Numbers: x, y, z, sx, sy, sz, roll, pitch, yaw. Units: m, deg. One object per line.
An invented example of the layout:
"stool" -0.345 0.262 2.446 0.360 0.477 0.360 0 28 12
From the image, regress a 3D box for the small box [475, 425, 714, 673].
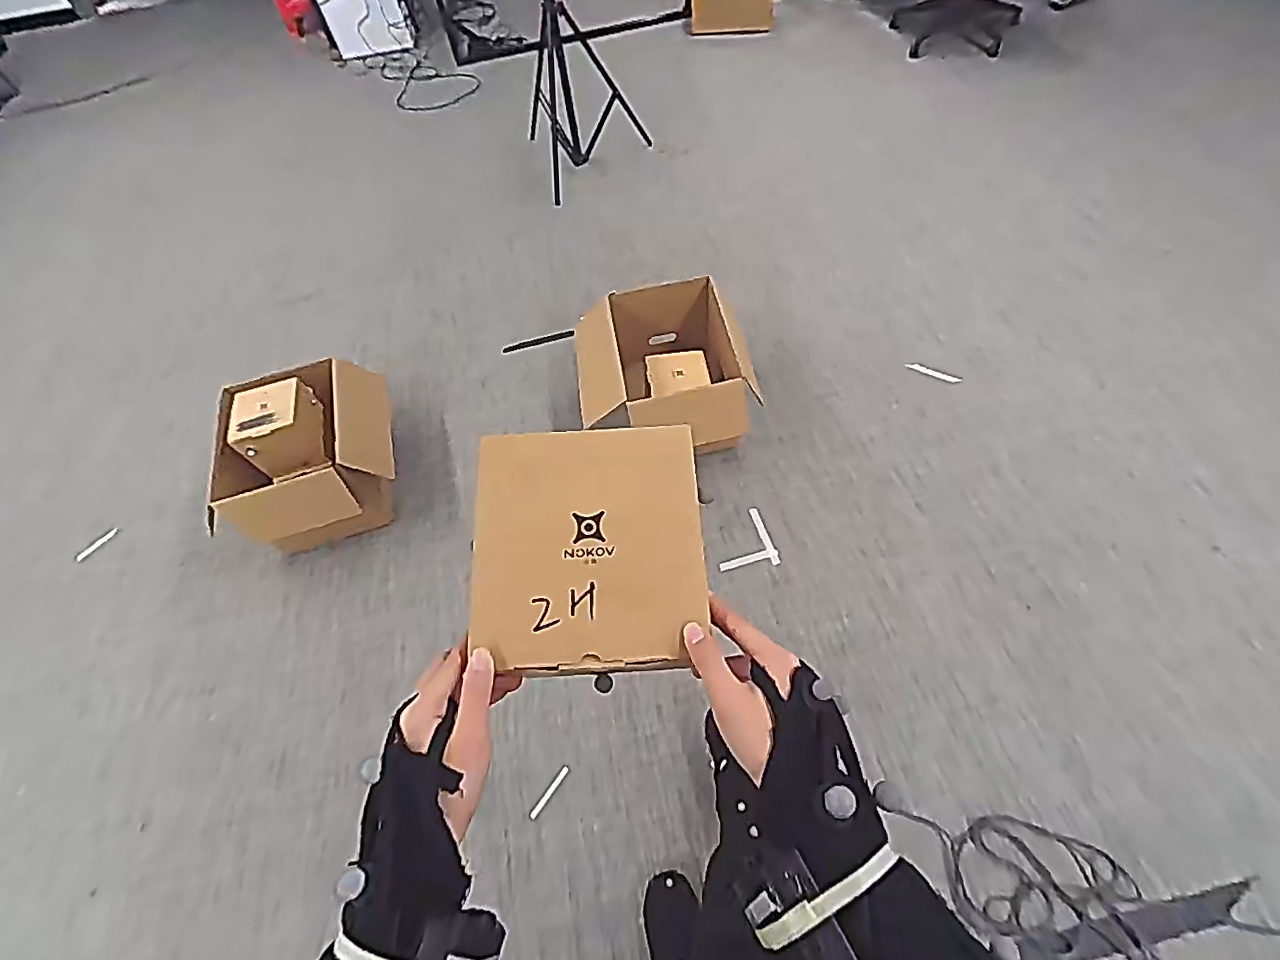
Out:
"small box" -0.034 0.069 0.470 0.168 0.176 0.179 -3 69 0
